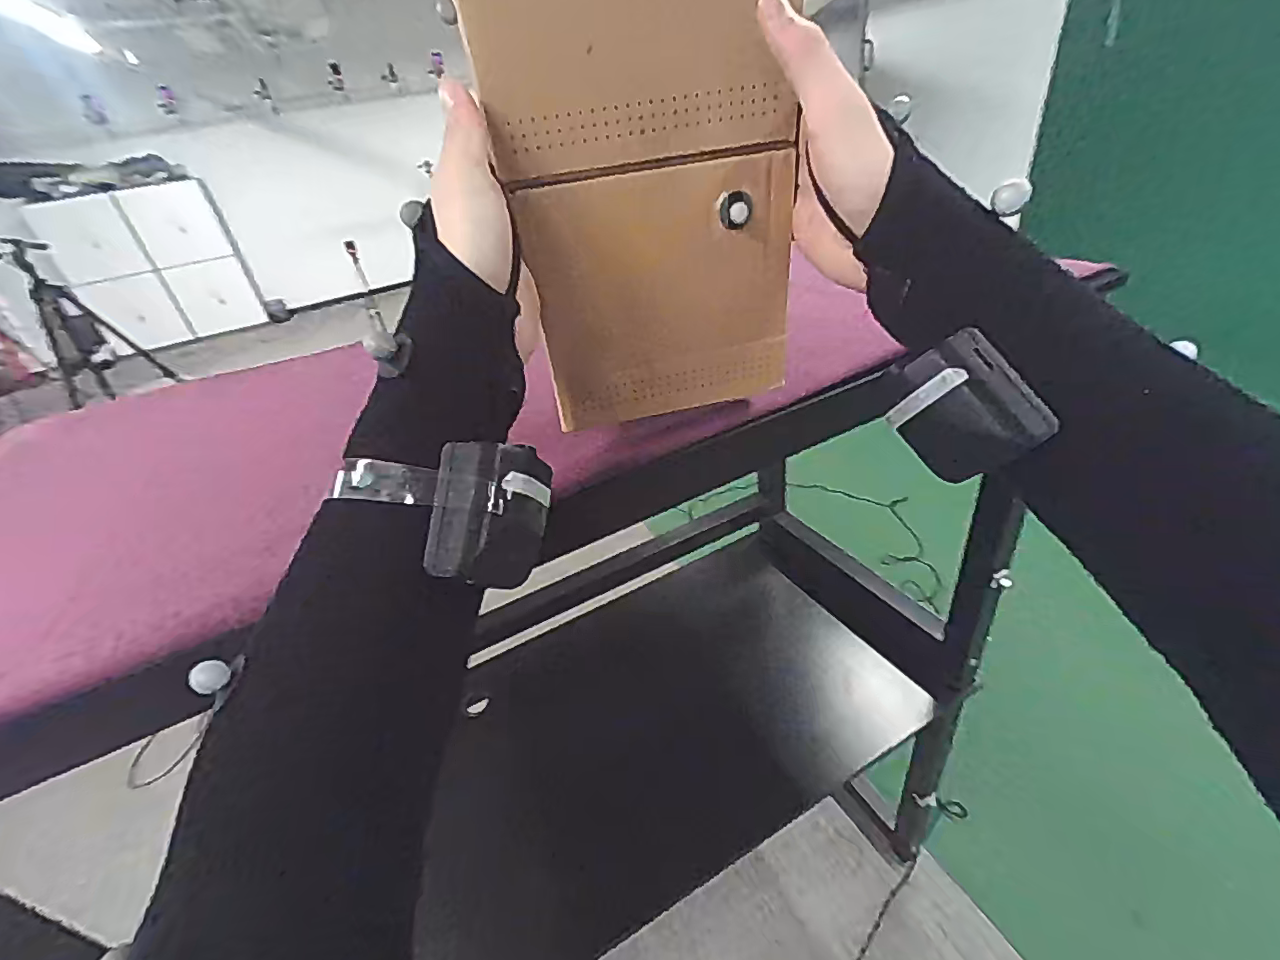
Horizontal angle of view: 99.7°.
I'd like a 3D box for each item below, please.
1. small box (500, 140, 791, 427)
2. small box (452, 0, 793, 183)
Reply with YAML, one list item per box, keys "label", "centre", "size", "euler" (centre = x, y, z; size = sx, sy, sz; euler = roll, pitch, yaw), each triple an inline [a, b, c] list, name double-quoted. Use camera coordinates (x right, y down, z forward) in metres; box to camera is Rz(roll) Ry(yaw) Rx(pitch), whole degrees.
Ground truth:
- label: "small box"
  centre: [0.000, -0.158, 0.419]
  size: [0.179, 0.176, 0.168]
  euler: [-12, 39, -6]
- label: "small box"
  centre: [-0.018, -0.286, 0.316]
  size: [0.179, 0.176, 0.168]
  euler: [-11, 39, -4]
